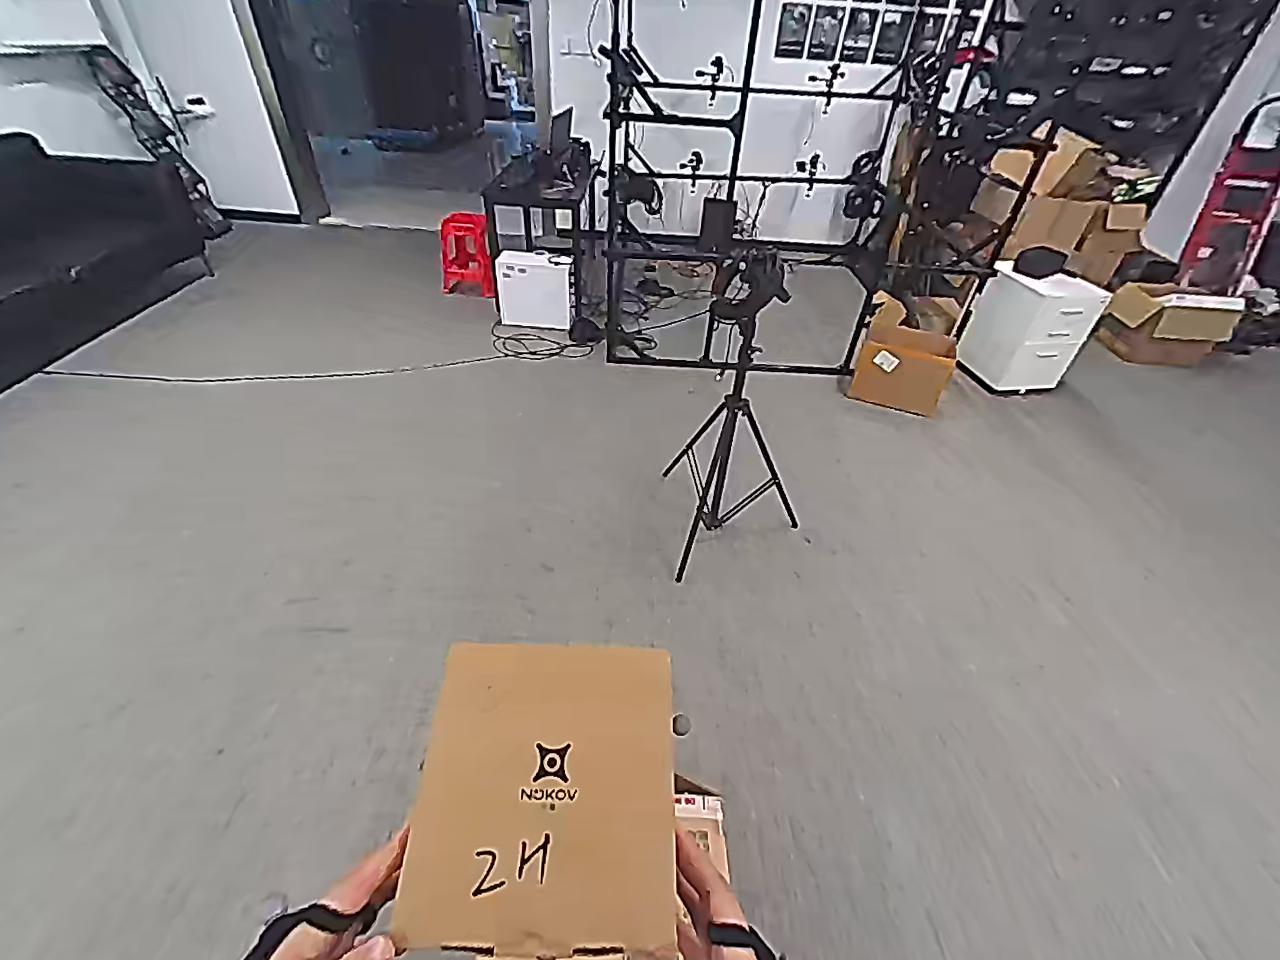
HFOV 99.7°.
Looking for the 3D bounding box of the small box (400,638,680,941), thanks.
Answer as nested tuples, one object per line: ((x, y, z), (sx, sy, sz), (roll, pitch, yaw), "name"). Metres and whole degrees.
((-0.060, 0.240, 0.425), (0.168, 0.176, 0.179), (2, 54, -1), "small box")
